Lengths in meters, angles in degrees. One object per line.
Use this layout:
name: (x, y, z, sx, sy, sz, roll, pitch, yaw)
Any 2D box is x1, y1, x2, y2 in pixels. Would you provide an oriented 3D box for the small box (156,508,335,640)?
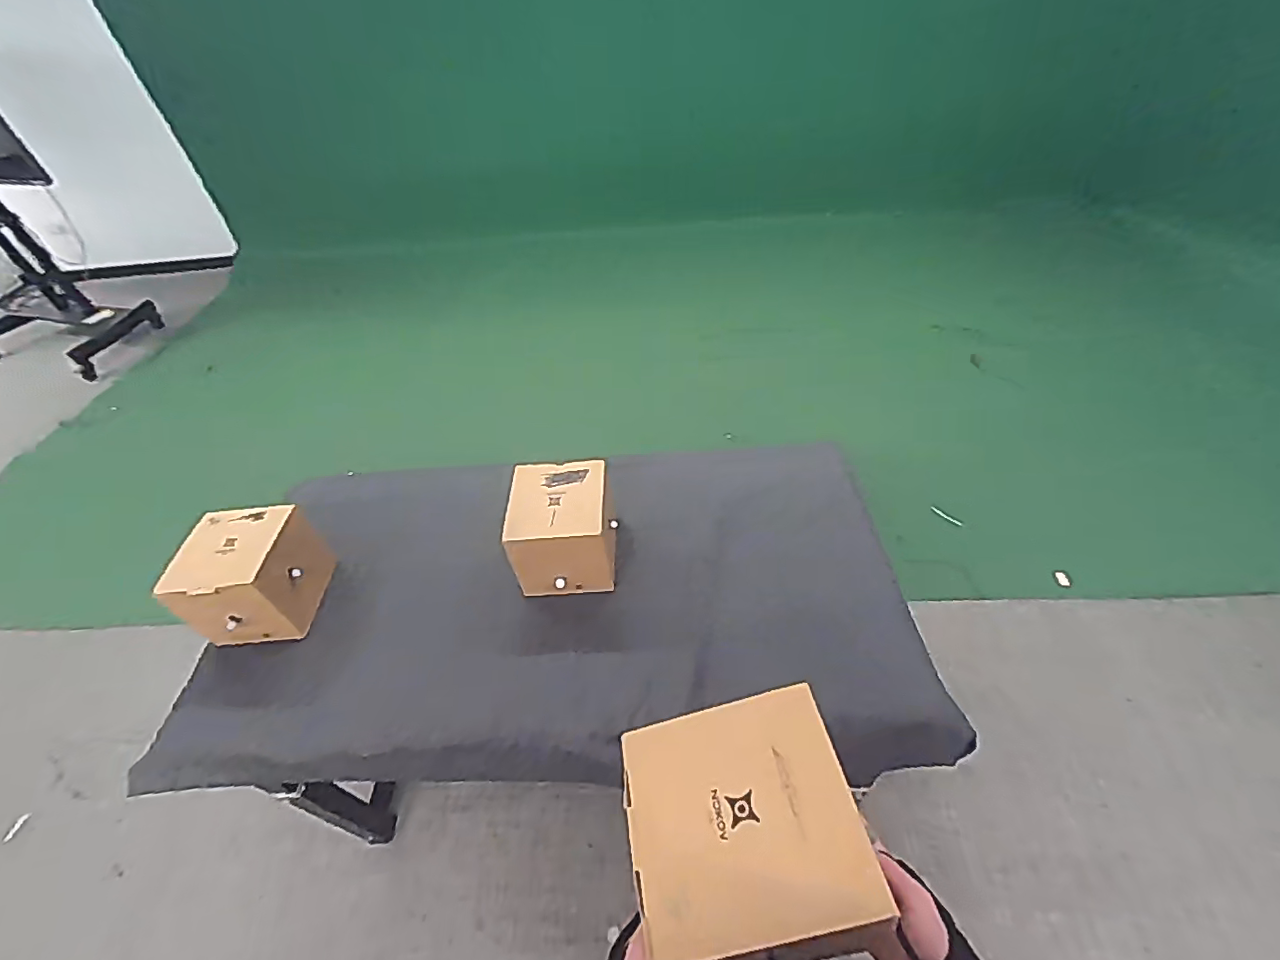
small box: (-0.680, 0.173, 0.964, 0.168, 0.176, 0.179, -5, 46, 0)

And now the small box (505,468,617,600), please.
small box: (-0.134, 0.099, 0.986, 0.168, 0.176, 0.179, -3, 46, 2)

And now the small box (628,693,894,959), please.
small box: (0.102, 0.323, 0.483, 0.179, 0.176, 0.168, -17, 43, 4)
